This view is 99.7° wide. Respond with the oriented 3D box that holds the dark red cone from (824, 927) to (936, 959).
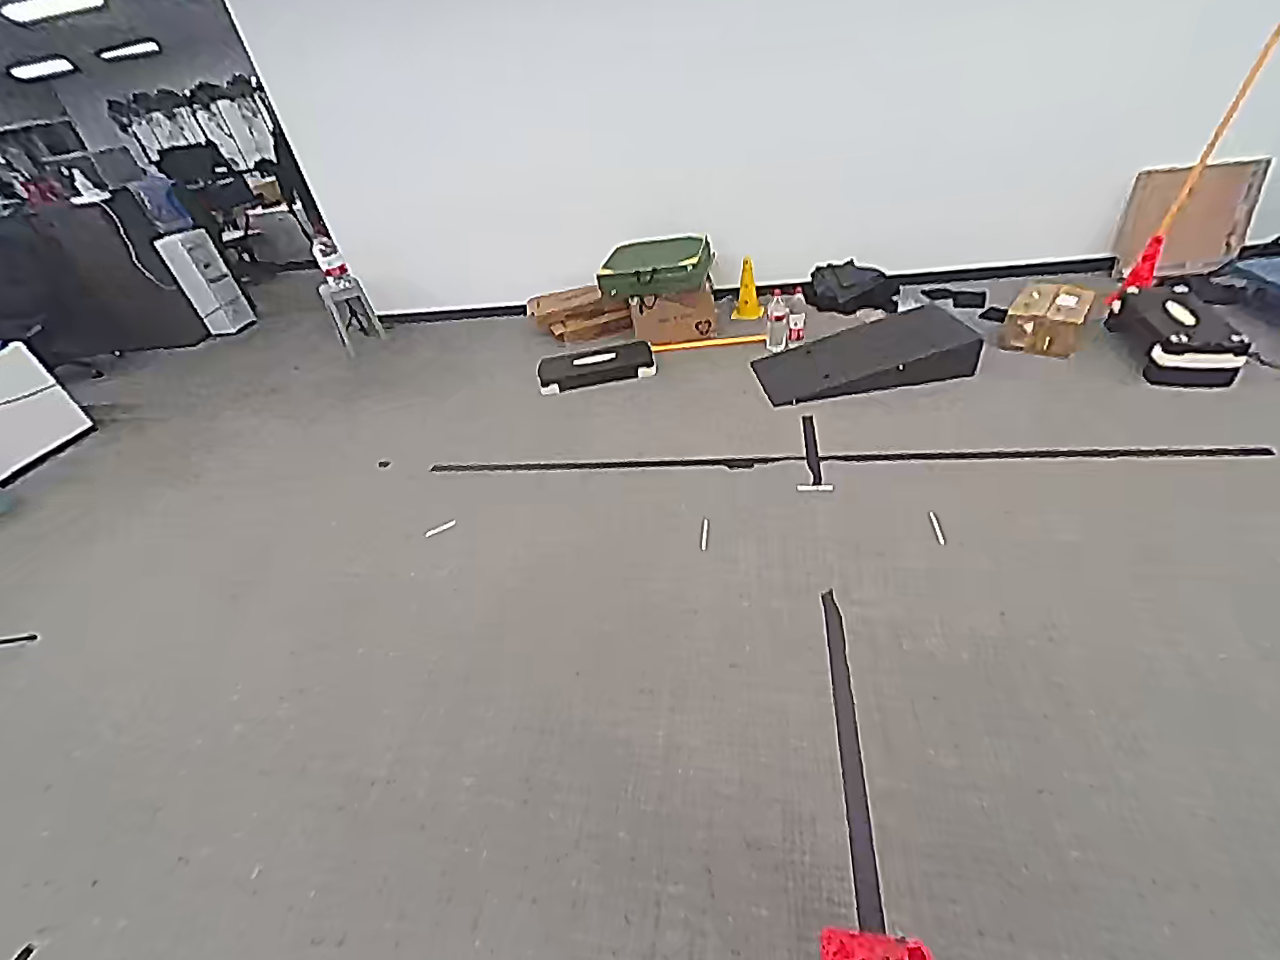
[{"bbox_3d":[0.413,0.803,0.856,0.201,0.394,0.202,-2,38,12],"label":"dark red cone"}]
